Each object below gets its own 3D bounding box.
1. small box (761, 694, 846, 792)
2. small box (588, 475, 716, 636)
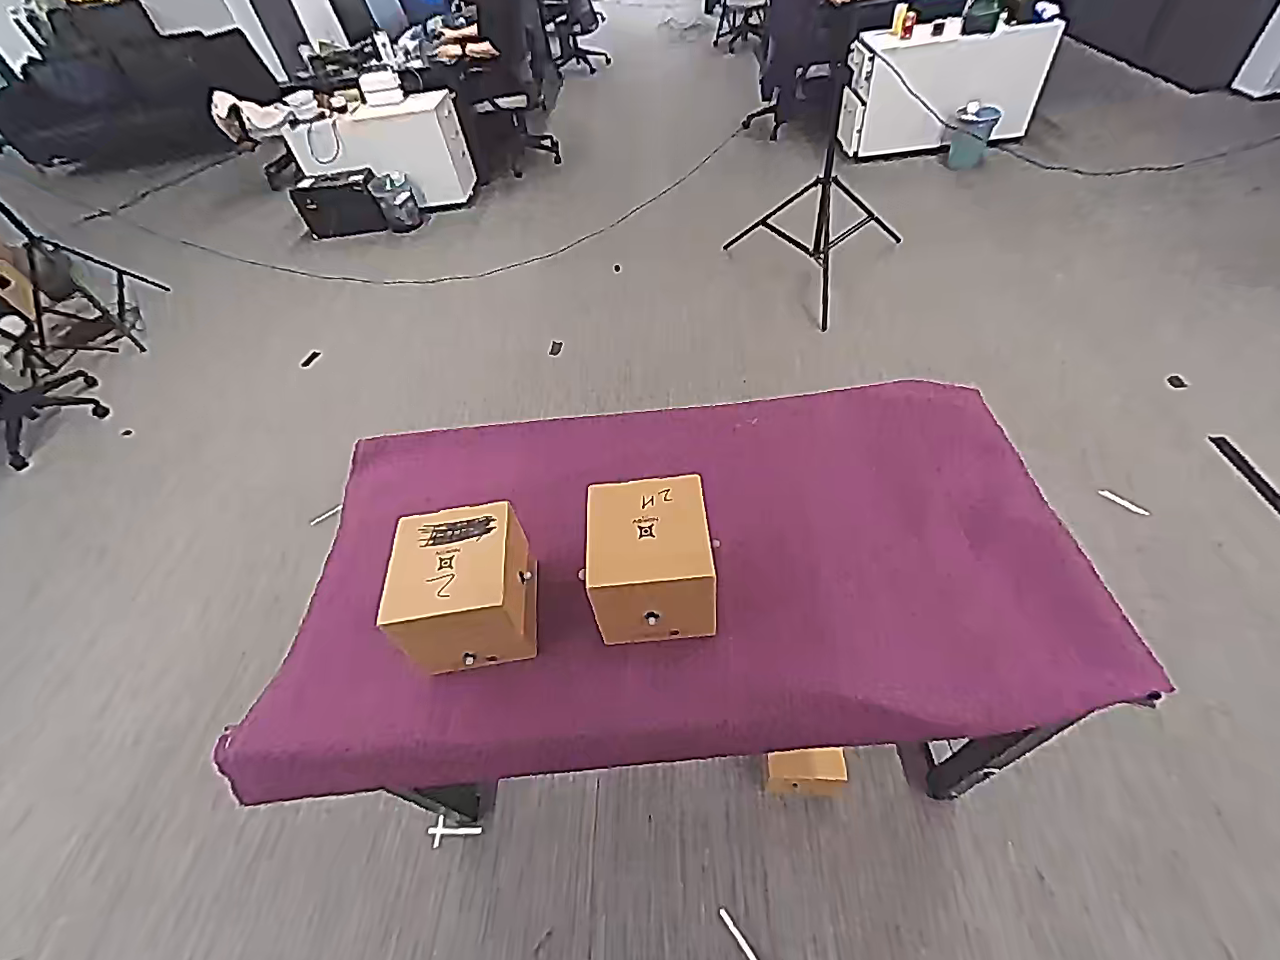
[{"bbox_3d":[0.377,0.626,1.279,0.168,0.176,0.179,-2,49,7],"label":"small box"},{"bbox_3d":[0.021,0.117,0.797,0.168,0.176,0.179,-5,48,2],"label":"small box"}]
